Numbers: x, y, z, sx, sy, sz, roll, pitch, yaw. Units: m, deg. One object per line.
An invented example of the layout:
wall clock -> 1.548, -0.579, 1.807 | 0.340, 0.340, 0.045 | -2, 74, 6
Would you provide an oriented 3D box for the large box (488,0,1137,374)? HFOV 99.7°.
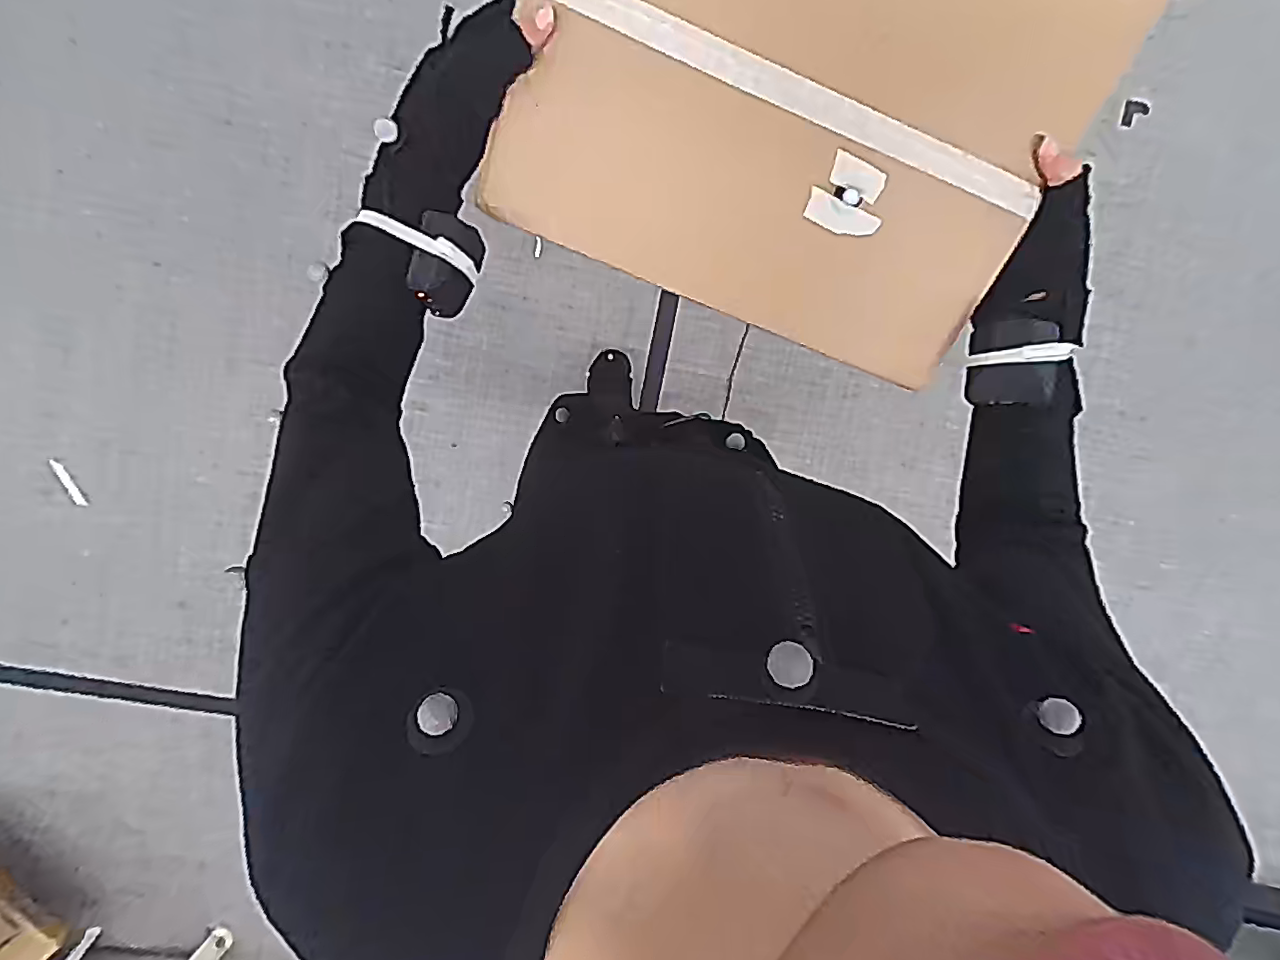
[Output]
large box -> 0.114, -0.350, 0.536 | 0.408, 0.320, 0.320 | 20, 116, -8
